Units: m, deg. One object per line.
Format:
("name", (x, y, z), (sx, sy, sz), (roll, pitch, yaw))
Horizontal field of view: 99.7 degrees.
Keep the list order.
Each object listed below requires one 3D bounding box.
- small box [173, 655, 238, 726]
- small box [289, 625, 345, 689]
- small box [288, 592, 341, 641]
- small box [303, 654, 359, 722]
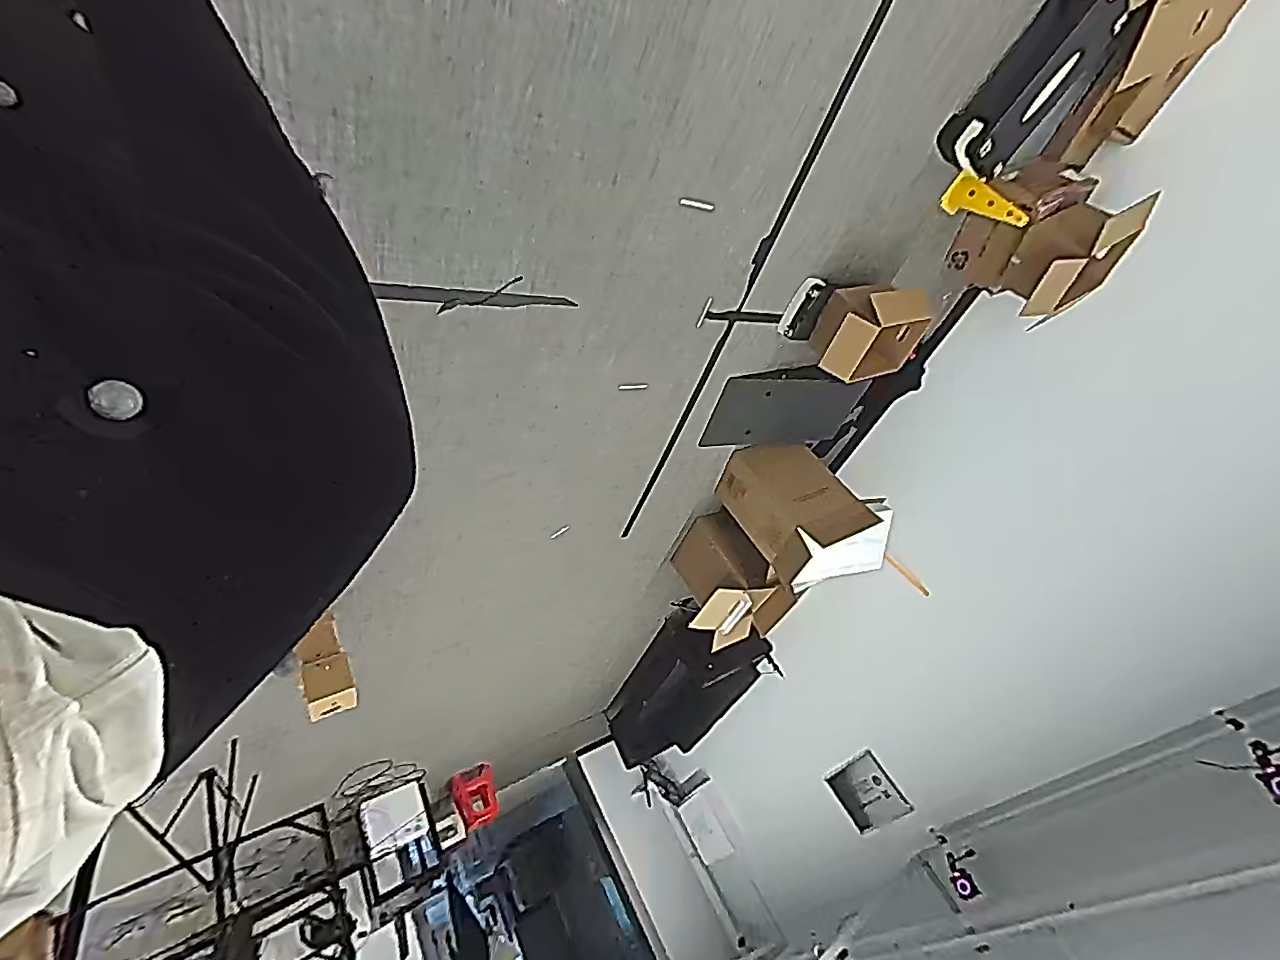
("small box", (-1.643, 0.789, 2.044), (0.179, 0.176, 0.168), (-6, 139, -39))
("small box", (-1.346, 0.738, 2.265), (0.179, 0.176, 0.168), (-15, 144, -32))
("small box", (-1.417, 0.618, 2.353), (0.168, 0.176, 0.179), (-14, 143, -33))
("small box", (-1.243, 0.834, 2.176), (0.168, 0.176, 0.179), (-13, 142, -36))
